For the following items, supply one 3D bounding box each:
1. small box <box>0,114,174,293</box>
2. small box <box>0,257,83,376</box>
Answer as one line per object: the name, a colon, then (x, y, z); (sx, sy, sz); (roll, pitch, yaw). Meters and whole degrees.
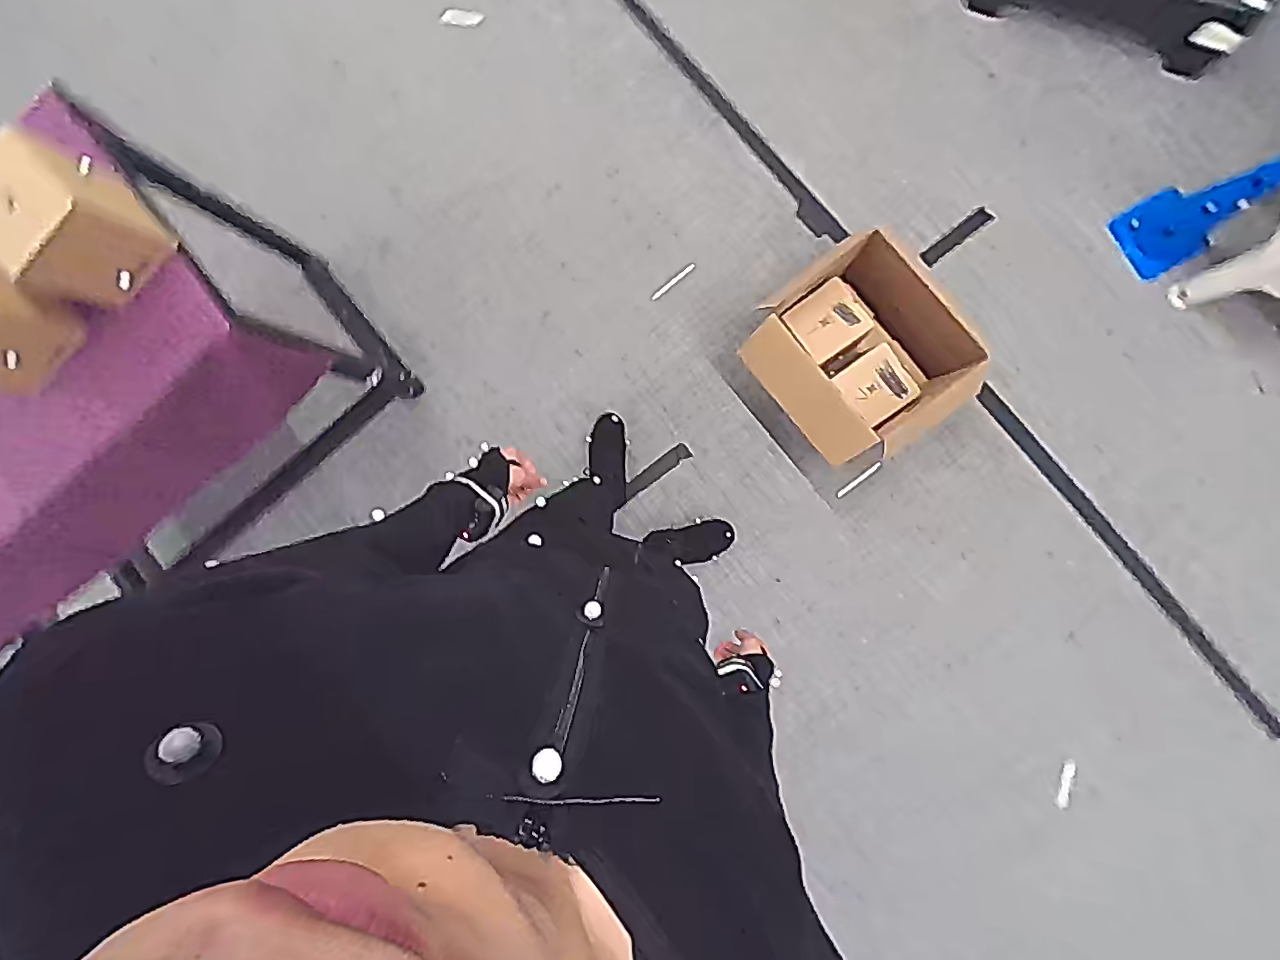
small box: (-0.962, -0.449, 0.913); (0.168, 0.176, 0.179); (-43, 86, 7)
small box: (-1.145, -0.297, 0.934); (0.168, 0.176, 0.179); (-45, 86, 5)
